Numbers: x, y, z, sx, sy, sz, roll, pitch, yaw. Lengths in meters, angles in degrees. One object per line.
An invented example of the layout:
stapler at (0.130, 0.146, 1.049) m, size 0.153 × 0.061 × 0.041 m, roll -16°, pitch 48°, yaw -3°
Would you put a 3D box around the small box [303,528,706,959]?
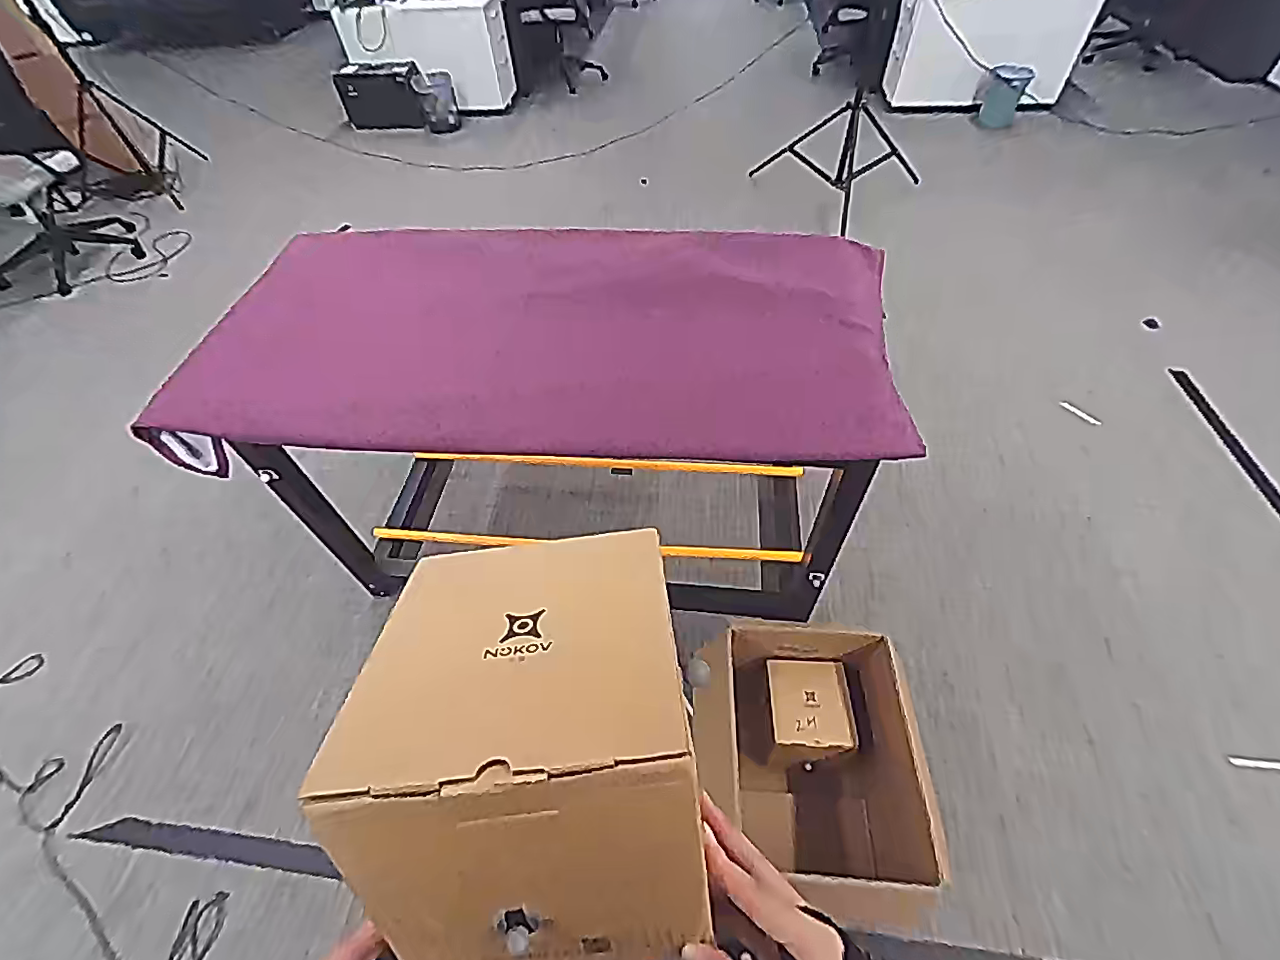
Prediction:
small box at (-0.056, 0.154, 0.333) m, size 0.168 × 0.176 × 0.179 m, roll -8°, pitch 28°, yaw 0°
